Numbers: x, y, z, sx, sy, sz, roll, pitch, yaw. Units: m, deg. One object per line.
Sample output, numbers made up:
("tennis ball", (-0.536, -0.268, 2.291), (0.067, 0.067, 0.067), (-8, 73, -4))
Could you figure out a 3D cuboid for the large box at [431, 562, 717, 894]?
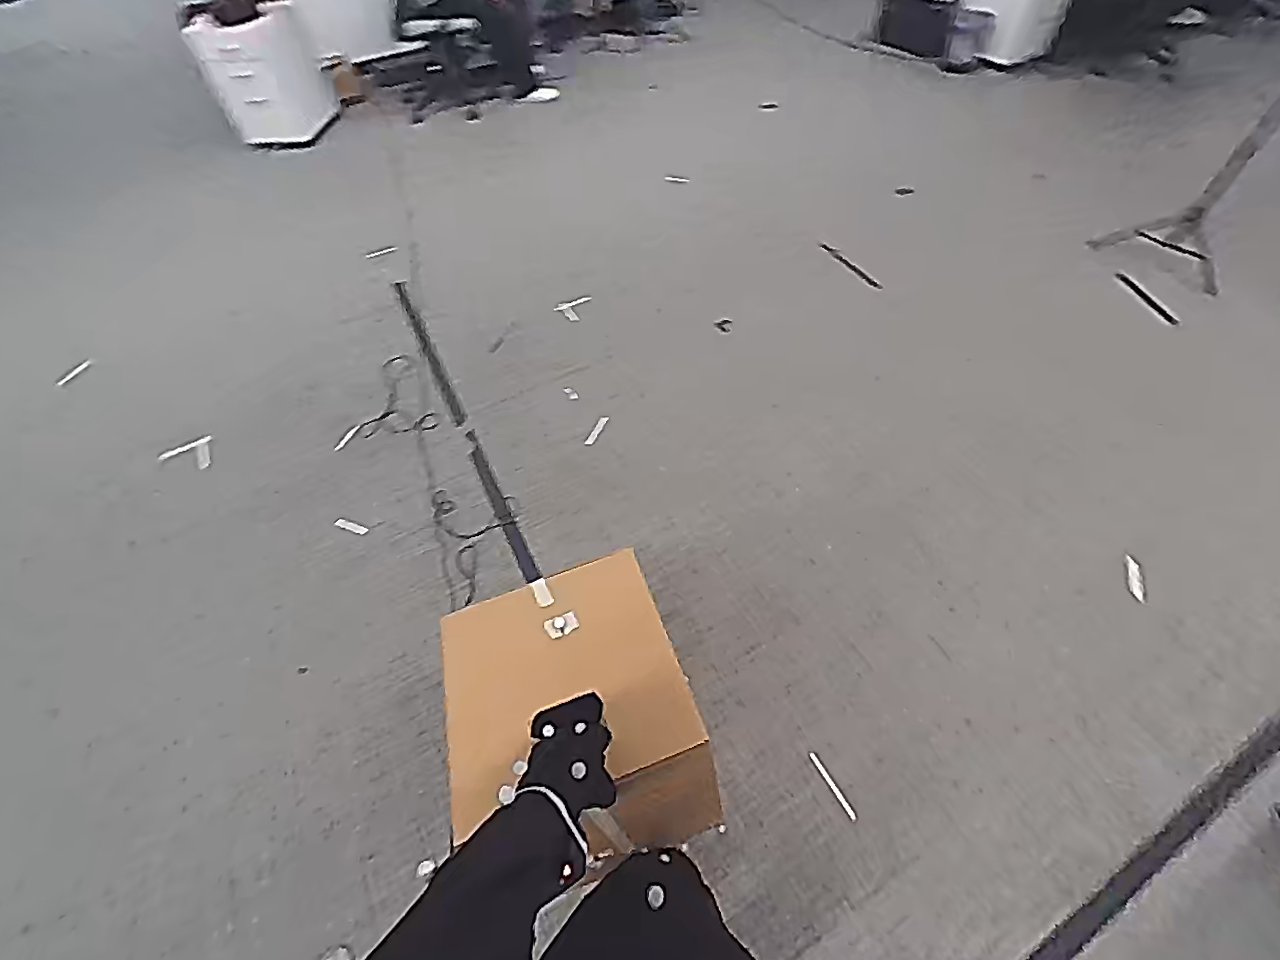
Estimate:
("large box", (-0.093, 0.403, 0.873), (0.320, 0.408, 0.320), (-21, 47, -7))
